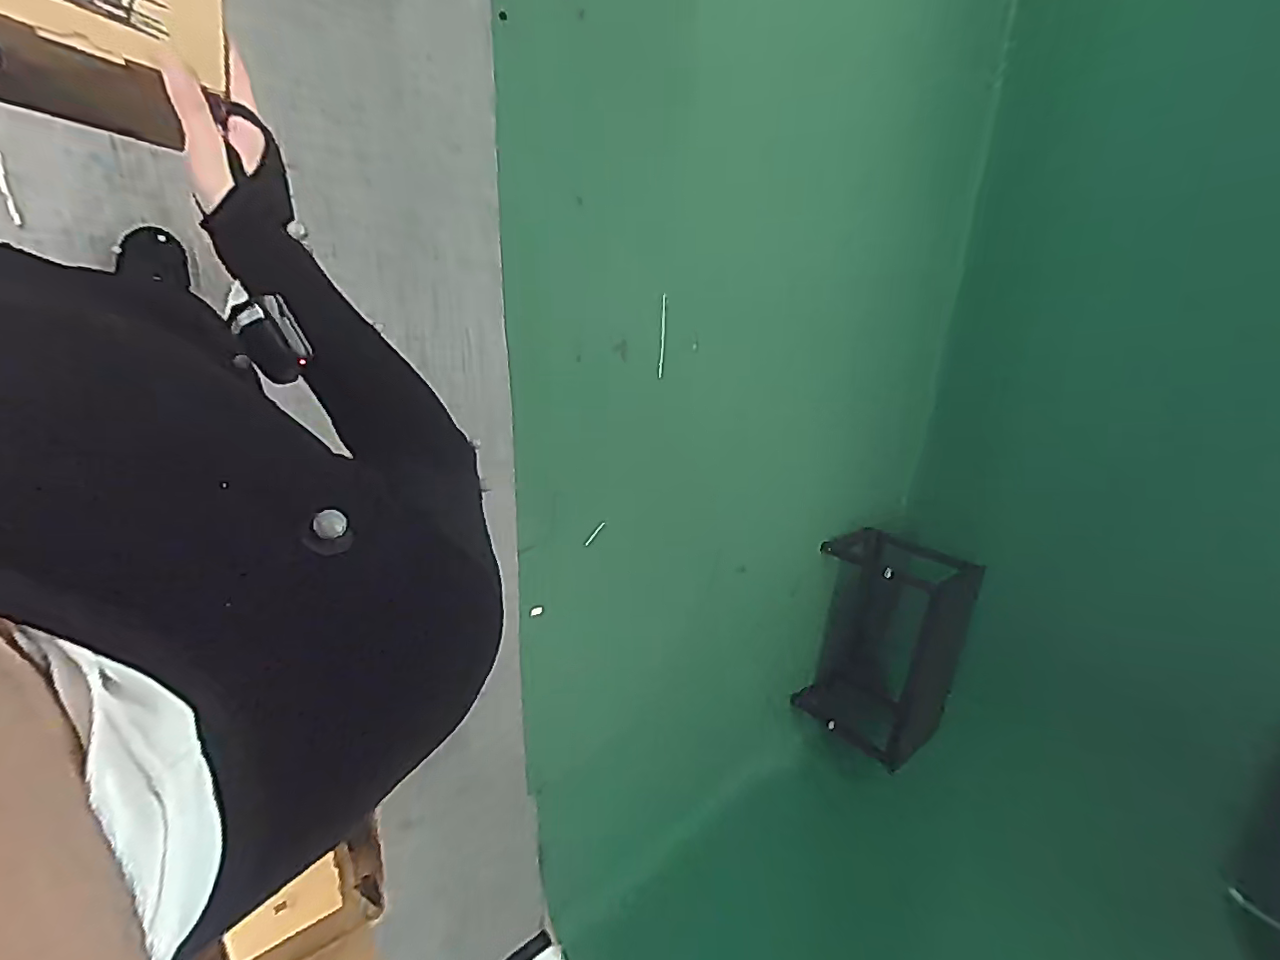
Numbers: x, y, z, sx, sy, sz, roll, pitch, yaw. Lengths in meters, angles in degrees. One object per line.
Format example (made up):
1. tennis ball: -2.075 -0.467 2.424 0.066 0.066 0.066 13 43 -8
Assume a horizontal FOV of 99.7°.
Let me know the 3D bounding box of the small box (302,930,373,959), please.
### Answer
1. small box: -0.578 1.011 1.005 0.168 0.176 0.179 -8 110 -39

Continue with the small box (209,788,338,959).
1. small box: -0.696 0.739 1.026 0.179 0.176 0.168 -12 116 -37

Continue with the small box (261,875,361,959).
1. small box: -0.681 0.982 1.133 0.168 0.176 0.179 -16 115 -35
